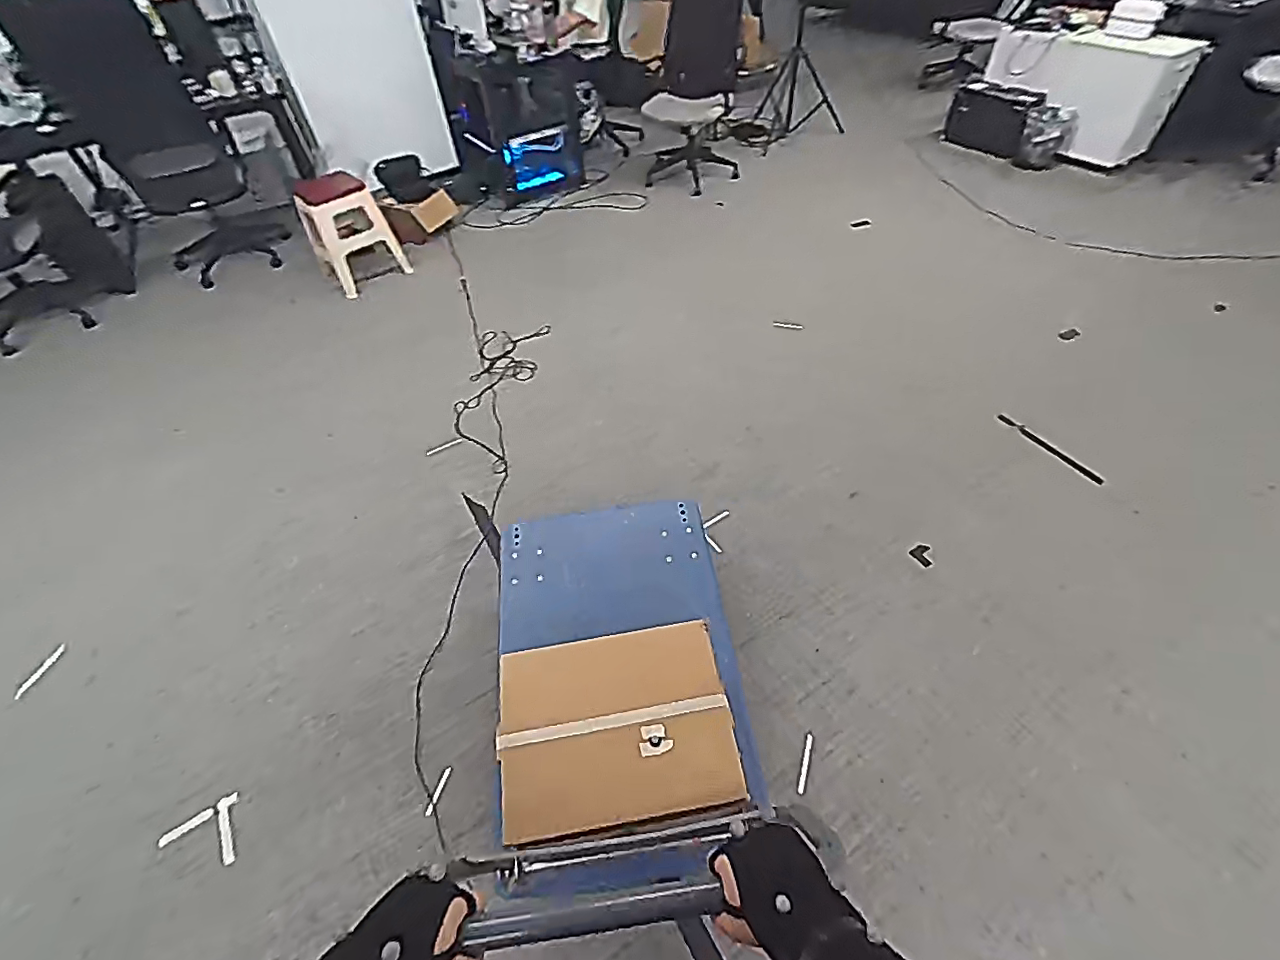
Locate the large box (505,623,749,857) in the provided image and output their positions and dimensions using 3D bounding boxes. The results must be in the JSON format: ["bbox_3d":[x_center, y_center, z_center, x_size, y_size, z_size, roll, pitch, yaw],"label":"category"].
[{"bbox_3d":[-0.034,0.529,1.090,0.408,0.320,0.320,-10,54,-5],"label":"large box"}]
